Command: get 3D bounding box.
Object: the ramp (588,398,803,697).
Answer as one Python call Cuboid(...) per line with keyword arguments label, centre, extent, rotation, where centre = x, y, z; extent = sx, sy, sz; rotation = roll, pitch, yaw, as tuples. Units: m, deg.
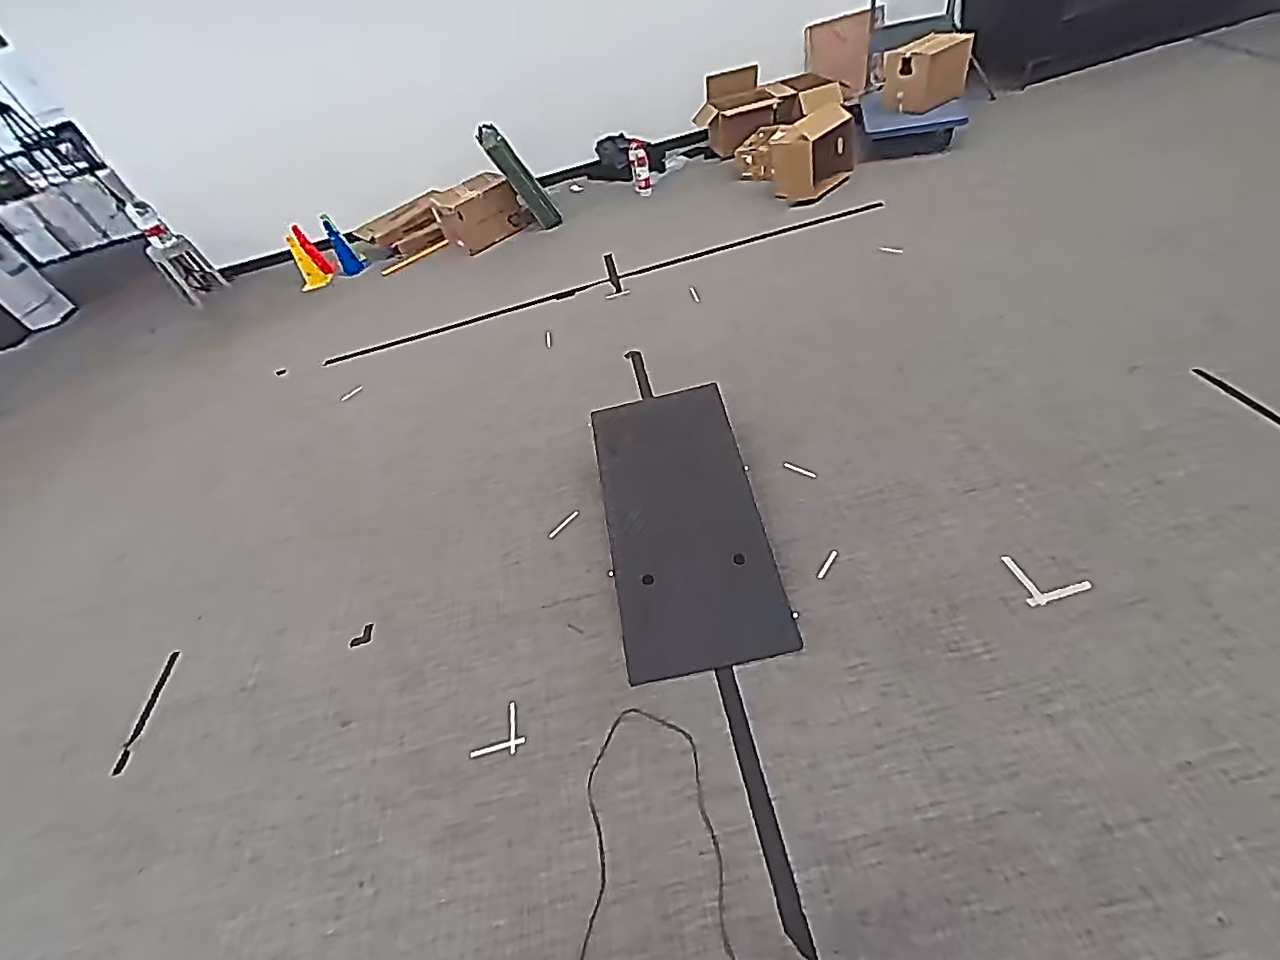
Cuboid(label="ramp", centre=(0.131, 0.151, 1.778), extent=(0.509, 0.206, 0.991), rotation=(-15, 45, 1))
